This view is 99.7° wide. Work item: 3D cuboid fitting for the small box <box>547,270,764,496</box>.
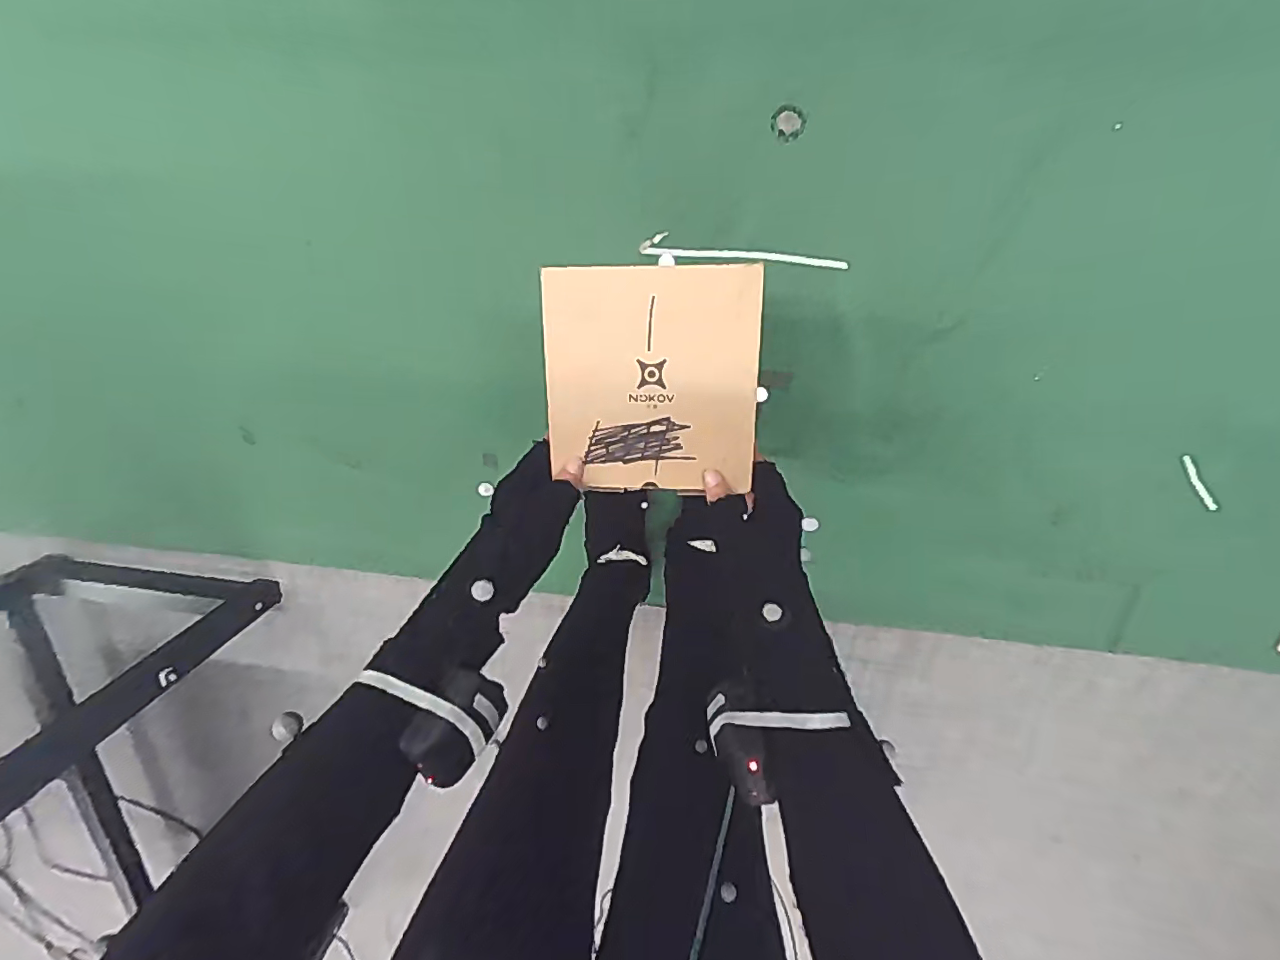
[{"bbox_3d":[0.018,-0.095,0.500,0.168,0.176,0.179,2,106,5],"label":"small box"}]
